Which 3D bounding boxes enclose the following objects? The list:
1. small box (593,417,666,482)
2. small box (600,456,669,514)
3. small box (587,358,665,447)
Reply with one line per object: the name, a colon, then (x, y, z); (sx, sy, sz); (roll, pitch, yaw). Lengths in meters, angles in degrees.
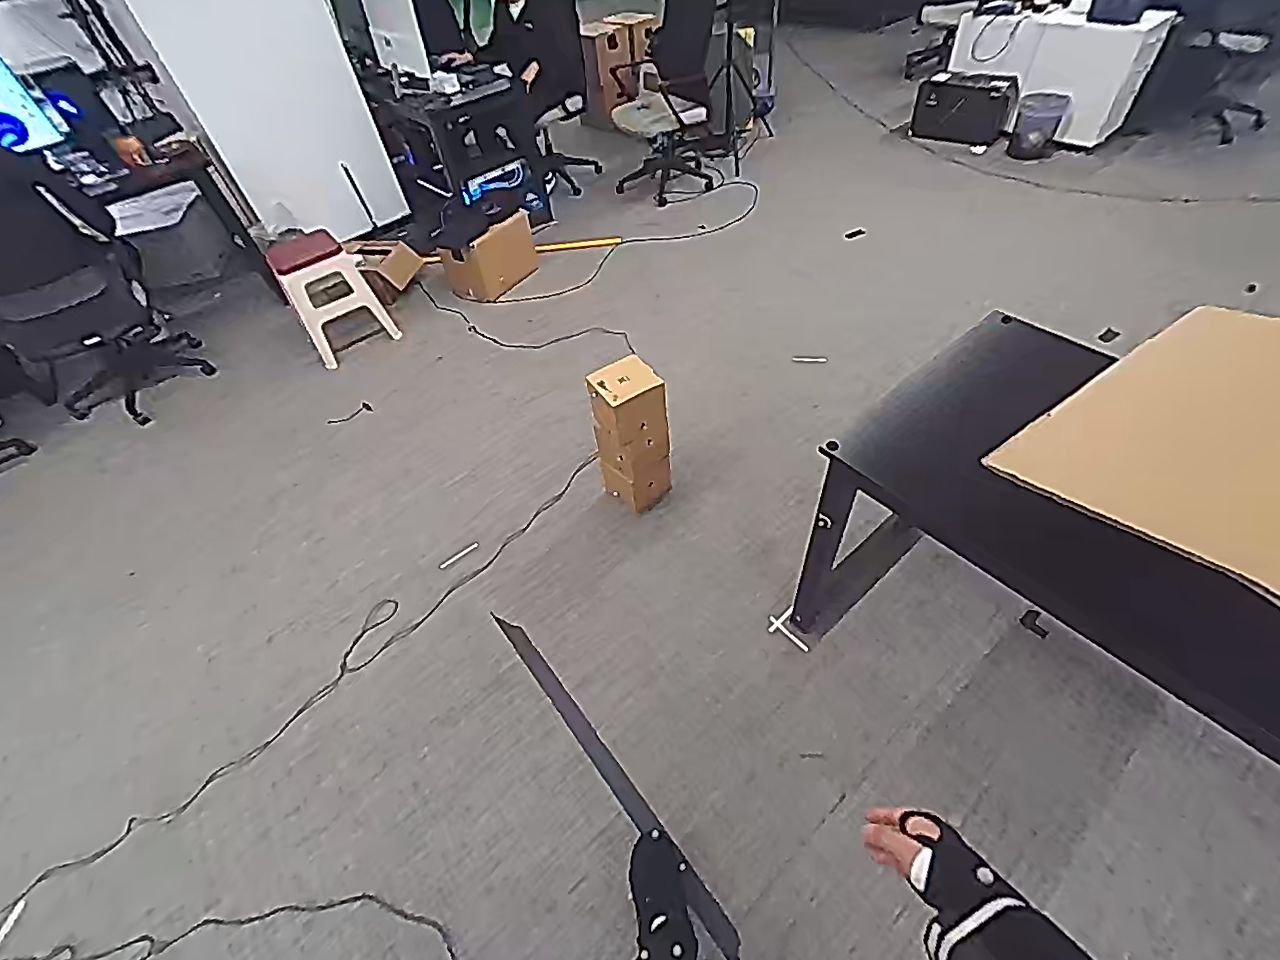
small box: (-0.025, -0.126, 1.753); (0.168, 0.176, 0.179); (34, 60, 29)
small box: (-0.013, -0.017, 1.873); (0.179, 0.176, 0.168); (-38, 55, -22)
small box: (-0.039, -0.231, 1.628); (0.179, 0.176, 0.168); (-28, 52, -17)
